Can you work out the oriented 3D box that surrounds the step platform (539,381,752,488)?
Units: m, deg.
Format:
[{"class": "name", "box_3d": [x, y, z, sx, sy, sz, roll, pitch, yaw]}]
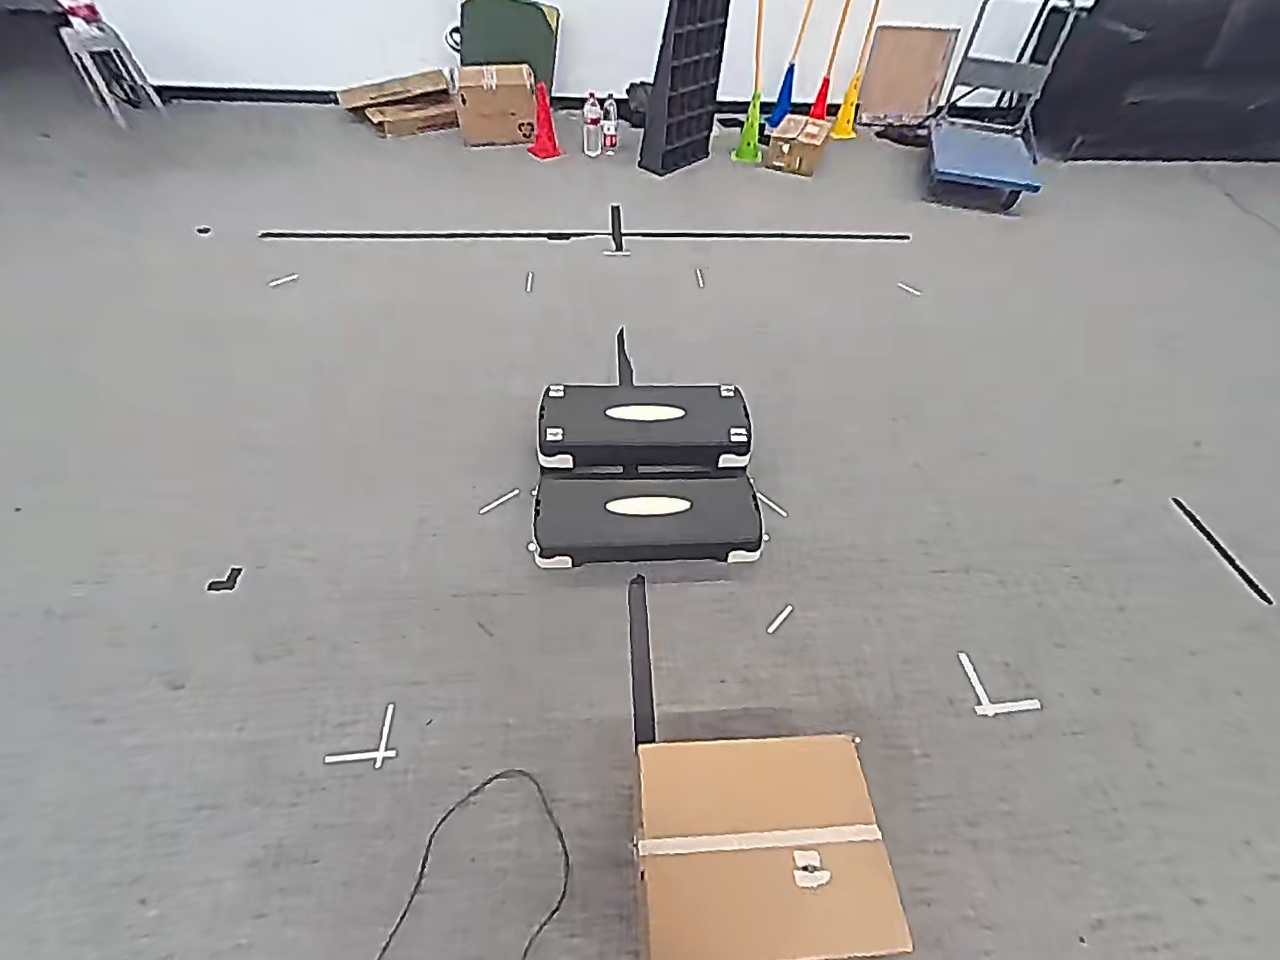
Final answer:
[{"class": "step platform", "box_3d": [0.018, -0.153, 1.772, 0.684, 0.204, 0.286, 3, 51, -1]}]

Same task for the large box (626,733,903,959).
[{"class": "large box", "box_3d": [0.187, 0.694, 1.014, 0.408, 0.320, 0.320, -1, 51, -5]}]
